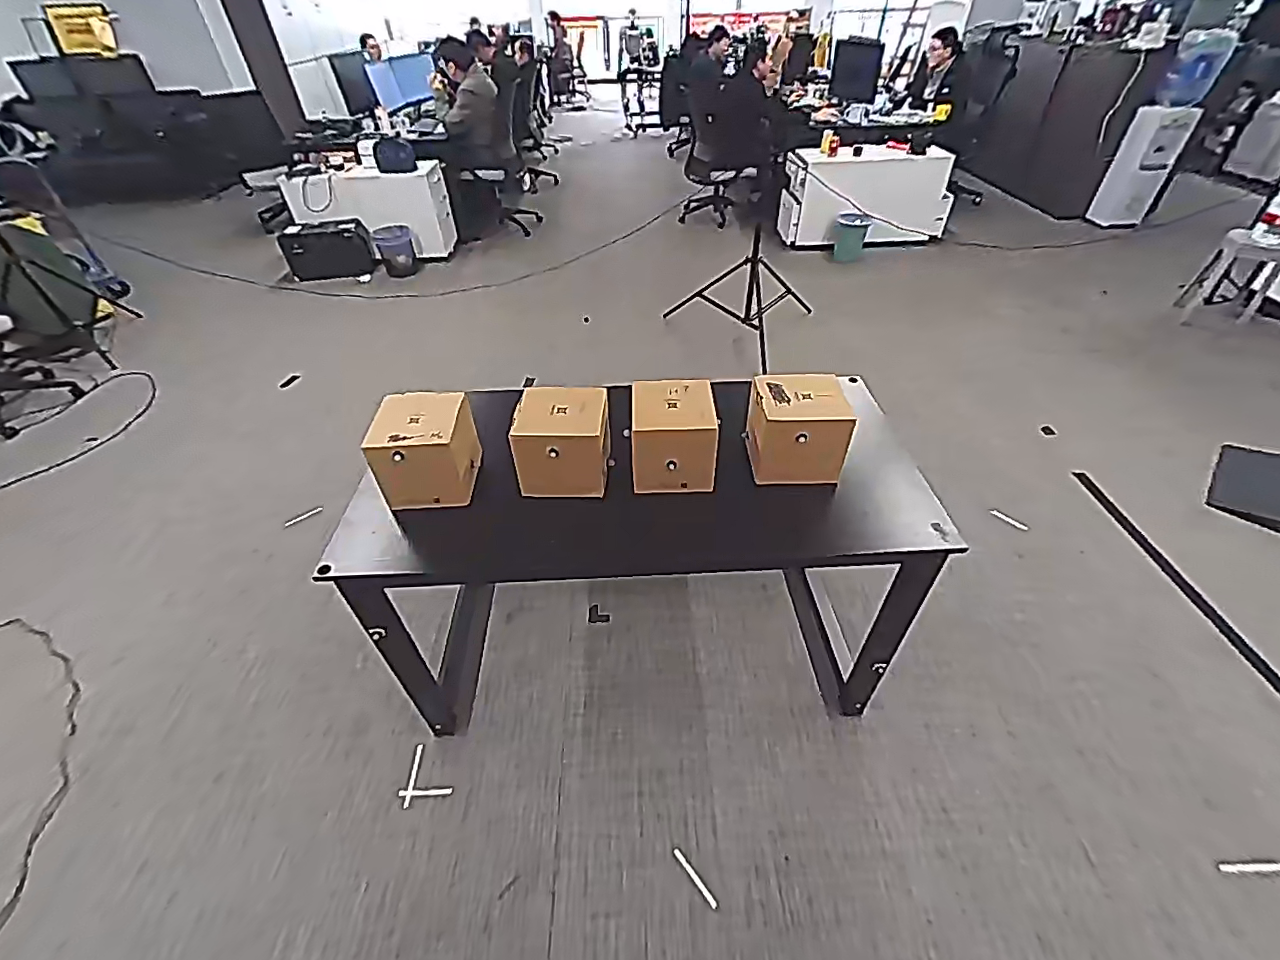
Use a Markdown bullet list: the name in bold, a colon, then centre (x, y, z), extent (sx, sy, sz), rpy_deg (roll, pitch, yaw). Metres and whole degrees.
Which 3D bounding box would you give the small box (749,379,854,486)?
- **small box**: centre (0.332, -0.100, 1.155), extent (0.179, 0.176, 0.168), rpy_deg (0, 42, 1)

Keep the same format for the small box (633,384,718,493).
- **small box**: centre (0.072, -0.084, 1.147), extent (0.168, 0.176, 0.179), rpy_deg (-1, 42, 0)

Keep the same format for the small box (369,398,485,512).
- **small box**: centre (-0.433, -0.052, 1.133), extent (0.168, 0.176, 0.179), rpy_deg (-3, 42, -1)
